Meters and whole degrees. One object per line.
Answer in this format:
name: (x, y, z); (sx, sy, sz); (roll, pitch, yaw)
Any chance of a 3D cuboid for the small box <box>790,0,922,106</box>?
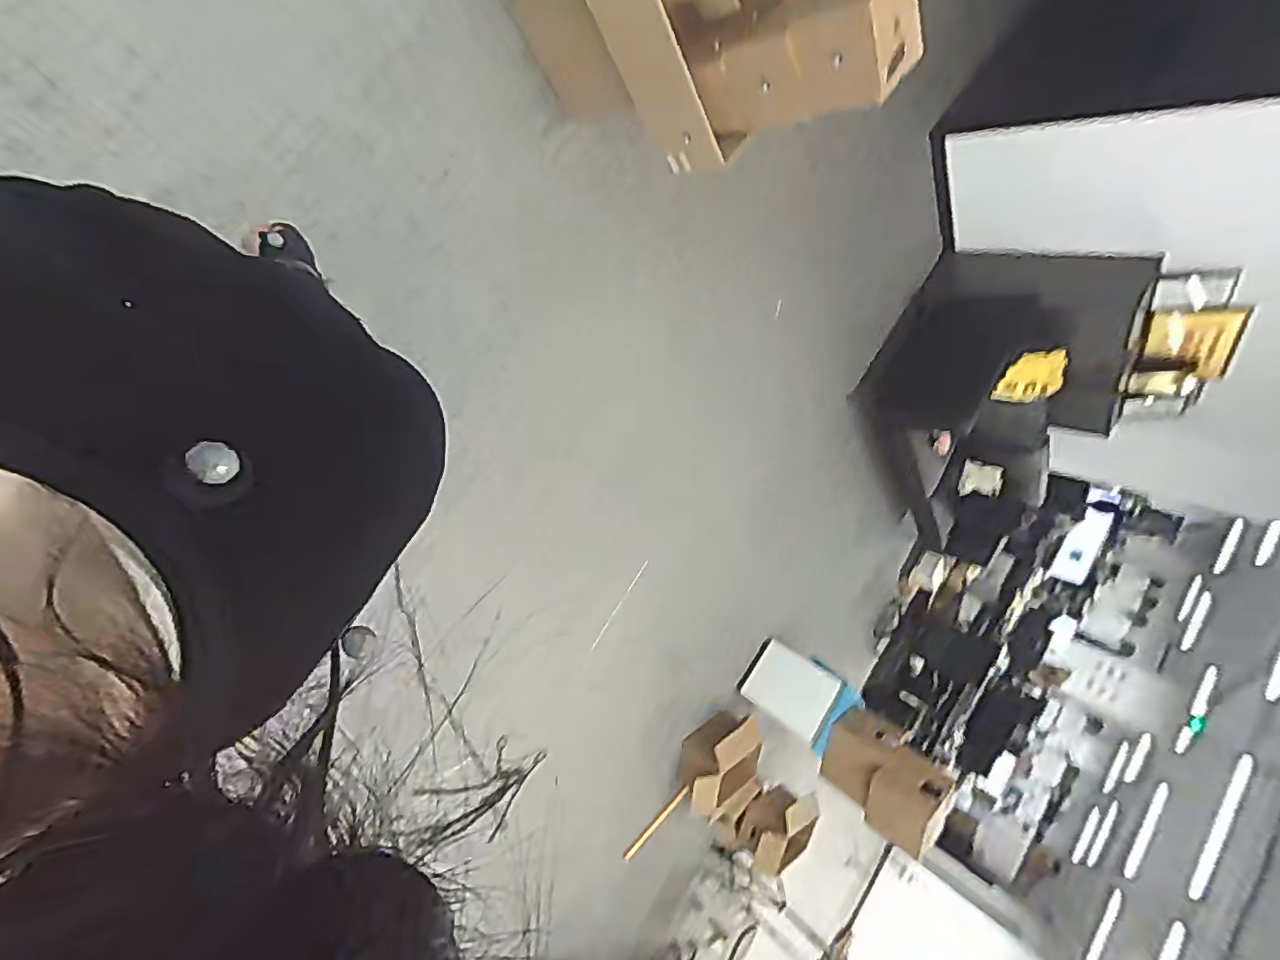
small box: (0.421, -0.866, 1.055); (0.168, 0.176, 0.179); (-52, 136, -13)
